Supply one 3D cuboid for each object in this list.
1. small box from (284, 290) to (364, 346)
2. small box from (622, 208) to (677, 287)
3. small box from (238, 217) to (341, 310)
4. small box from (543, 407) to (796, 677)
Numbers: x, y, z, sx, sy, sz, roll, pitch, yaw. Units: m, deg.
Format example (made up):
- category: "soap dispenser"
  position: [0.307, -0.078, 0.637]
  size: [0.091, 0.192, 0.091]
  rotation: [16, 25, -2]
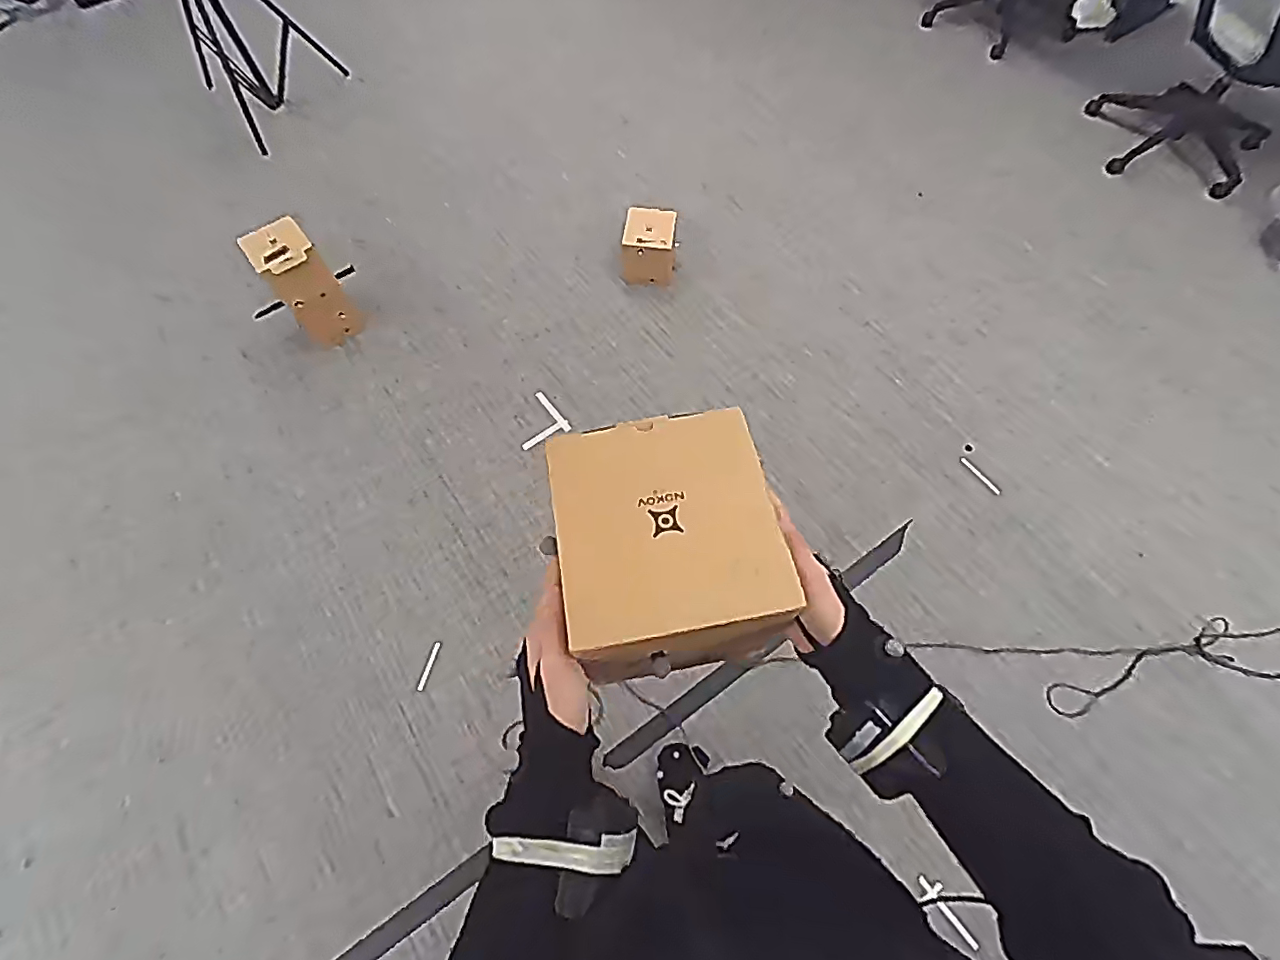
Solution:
- category: "small box"
  position: [-1.043, -0.567, 1.768]
  size: [0.168, 0.176, 0.179]
  rotation: [-37, 69, -16]
- category: "small box"
  position: [0.031, -0.797, 1.860]
  size: [0.168, 0.176, 0.179]
  rotation: [8, 66, 3]
- category: "small box"
  position: [-1.040, -0.638, 1.620]
  size: [0.168, 0.176, 0.179]
  rotation: [-37, 69, -15]
- category: "small box"
  position: [0.017, 0.065, 0.474]
  size: [0.168, 0.176, 0.179]
  rotation: [-10, 61, -4]
